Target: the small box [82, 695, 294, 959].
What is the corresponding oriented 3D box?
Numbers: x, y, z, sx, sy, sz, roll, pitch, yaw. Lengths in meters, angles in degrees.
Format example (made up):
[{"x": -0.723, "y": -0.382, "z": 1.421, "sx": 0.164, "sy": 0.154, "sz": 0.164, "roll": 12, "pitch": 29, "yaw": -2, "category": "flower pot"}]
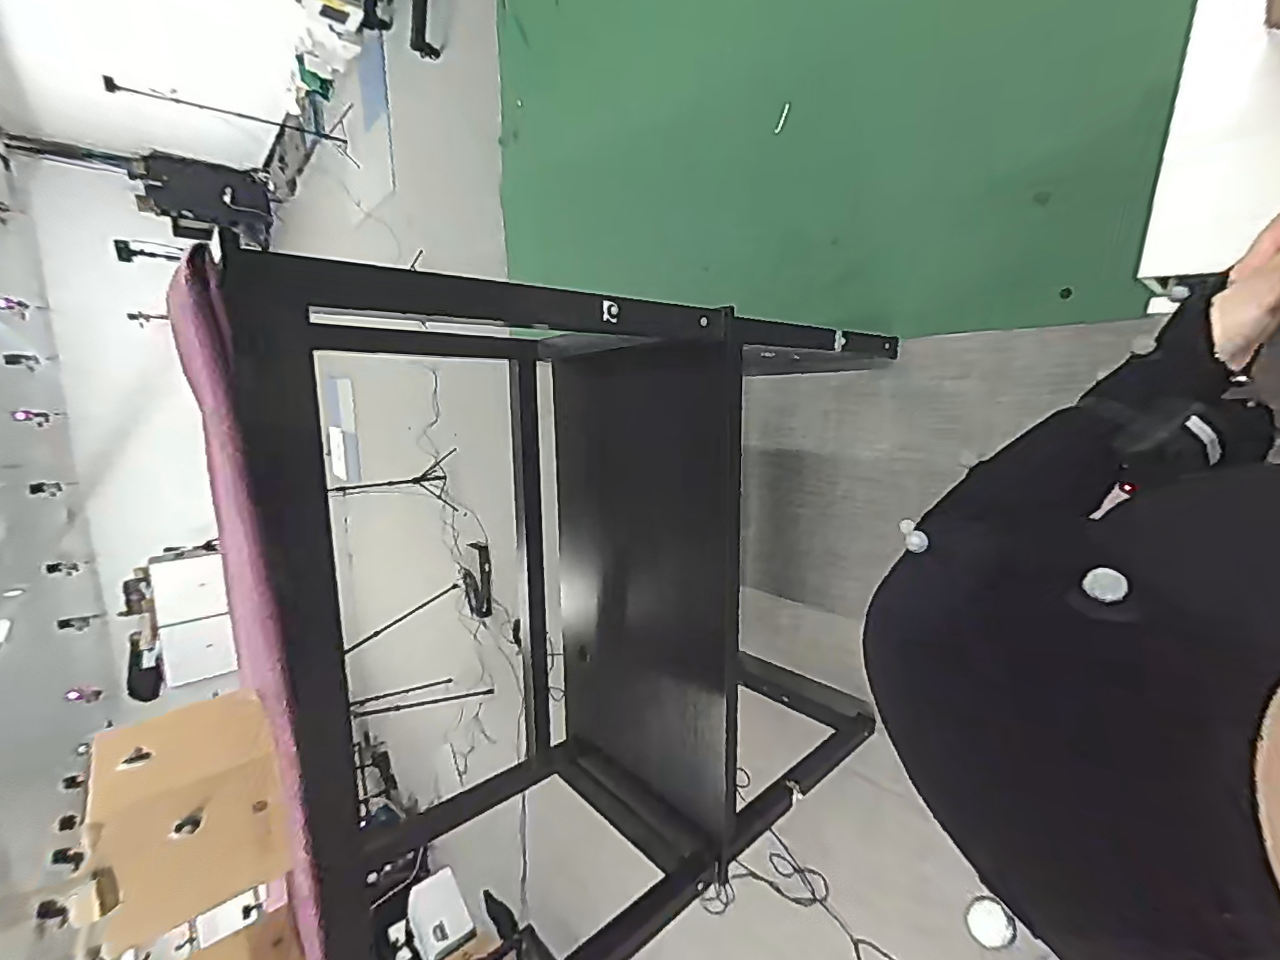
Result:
[{"x": -0.525, "y": 0.387, "z": 0.645, "sx": 0.179, "sy": 0.176, "sz": 0.168, "roll": 13, "pitch": 106, "yaw": 48, "category": "small box"}]
